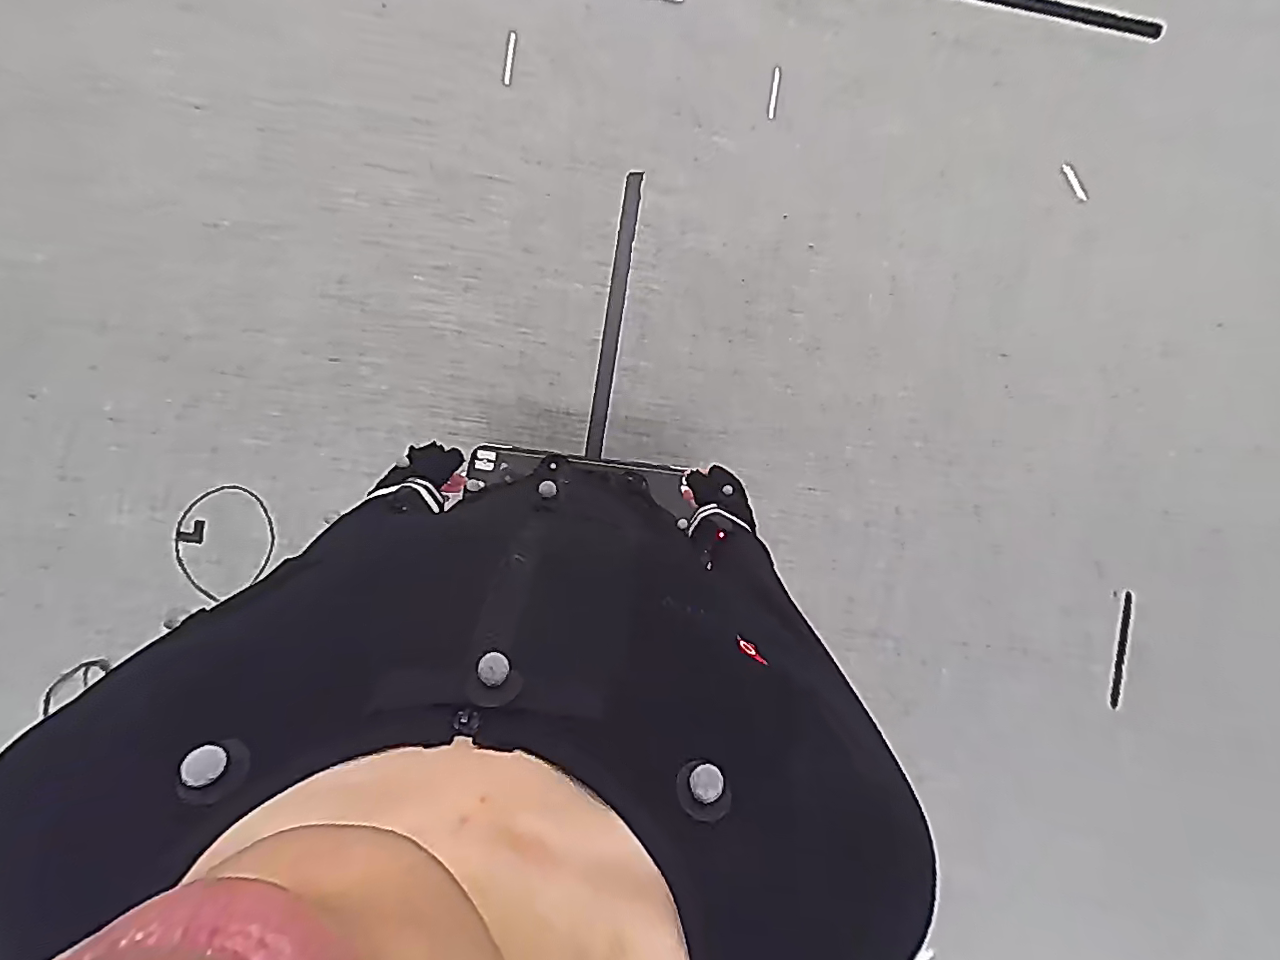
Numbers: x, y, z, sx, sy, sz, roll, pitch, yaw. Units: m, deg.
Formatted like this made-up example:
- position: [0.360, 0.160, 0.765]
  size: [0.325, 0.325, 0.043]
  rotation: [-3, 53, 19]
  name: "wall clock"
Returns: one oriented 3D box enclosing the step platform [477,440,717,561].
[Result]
- position: [-0.121, 0.059, 1.576]
  size: [0.684, 0.204, 0.286]
  rotation: [6, 92, -5]
  name: "step platform"
